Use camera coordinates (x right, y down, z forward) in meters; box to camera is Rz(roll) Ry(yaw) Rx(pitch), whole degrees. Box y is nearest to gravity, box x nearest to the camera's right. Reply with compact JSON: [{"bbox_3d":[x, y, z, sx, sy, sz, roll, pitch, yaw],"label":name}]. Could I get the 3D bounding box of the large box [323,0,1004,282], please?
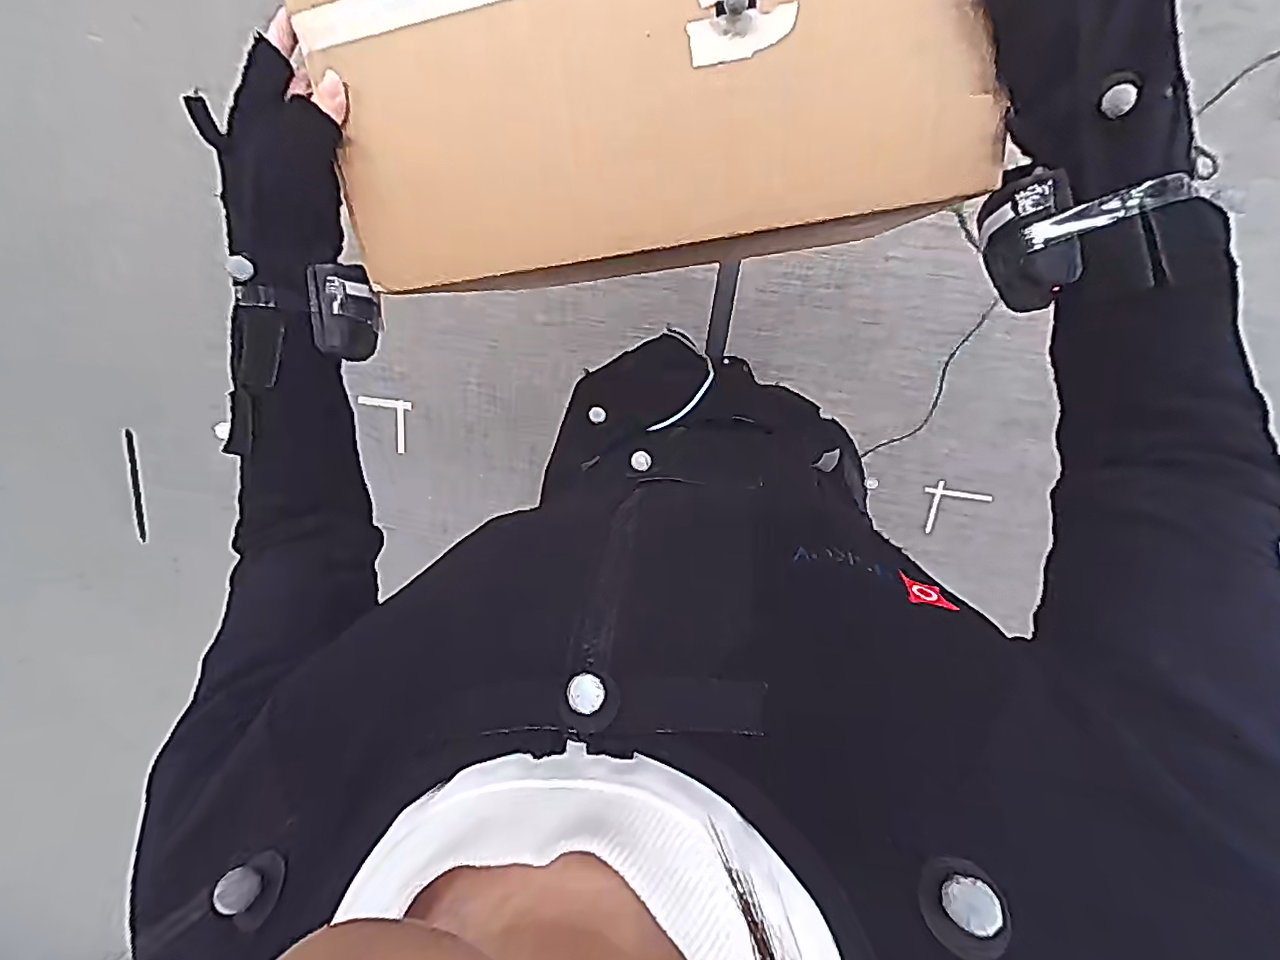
[{"bbox_3d":[0.016,-0.357,0.446,0.408,0.320,0.320,-5,110,12],"label":"large box"}]
